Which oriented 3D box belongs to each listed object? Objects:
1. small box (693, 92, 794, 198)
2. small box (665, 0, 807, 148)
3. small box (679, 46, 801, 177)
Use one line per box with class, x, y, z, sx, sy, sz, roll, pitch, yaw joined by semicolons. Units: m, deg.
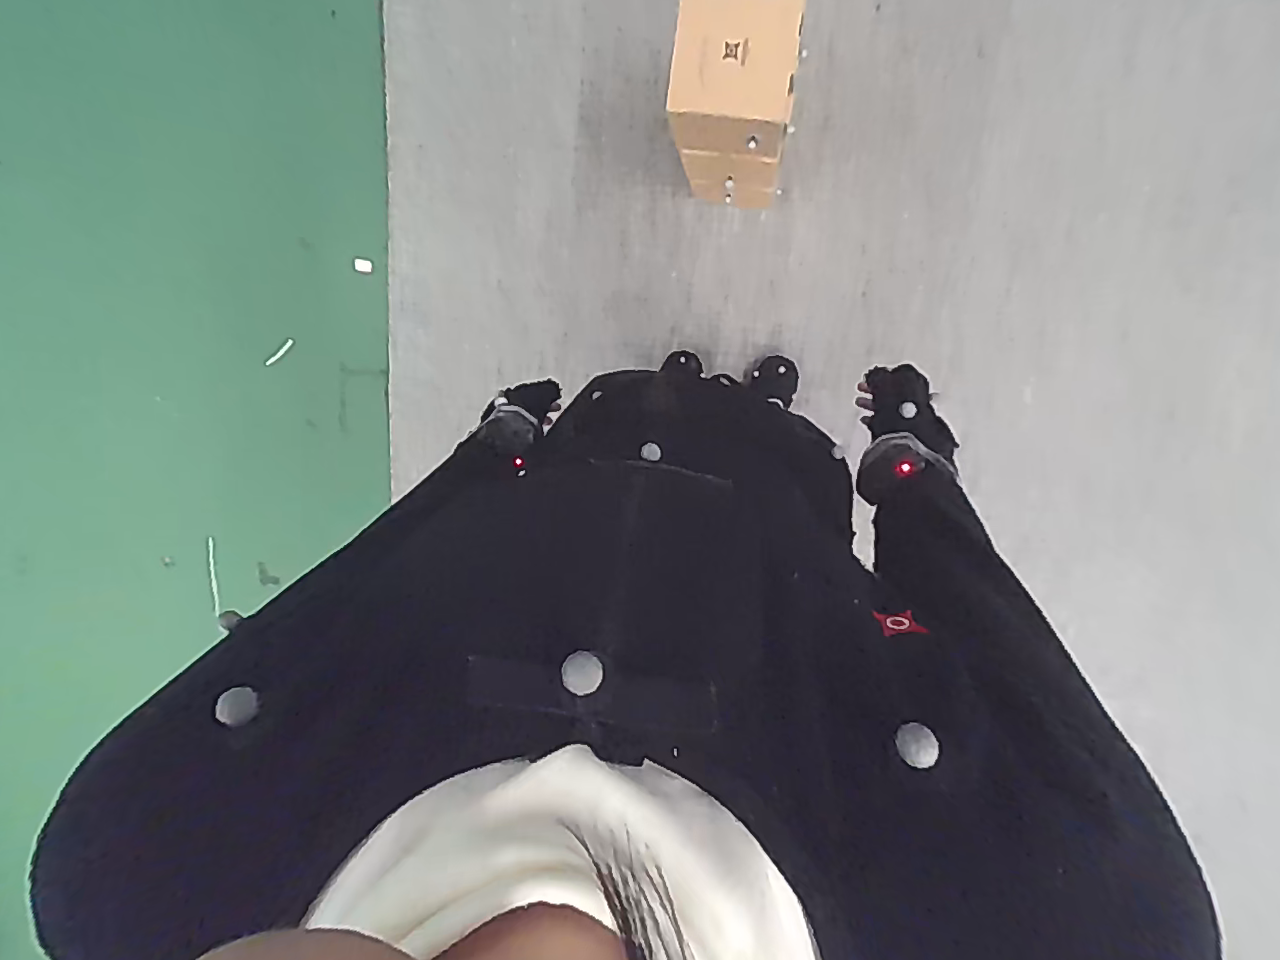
small box;0.214;-0.706;1.143;0.179;0.176;0.168;9;107;8
small box;0.147;-0.632;0.833;0.179;0.176;0.168;11;106;9
small box;0.180;-0.670;0.987;0.179;0.176;0.168;12;107;7
